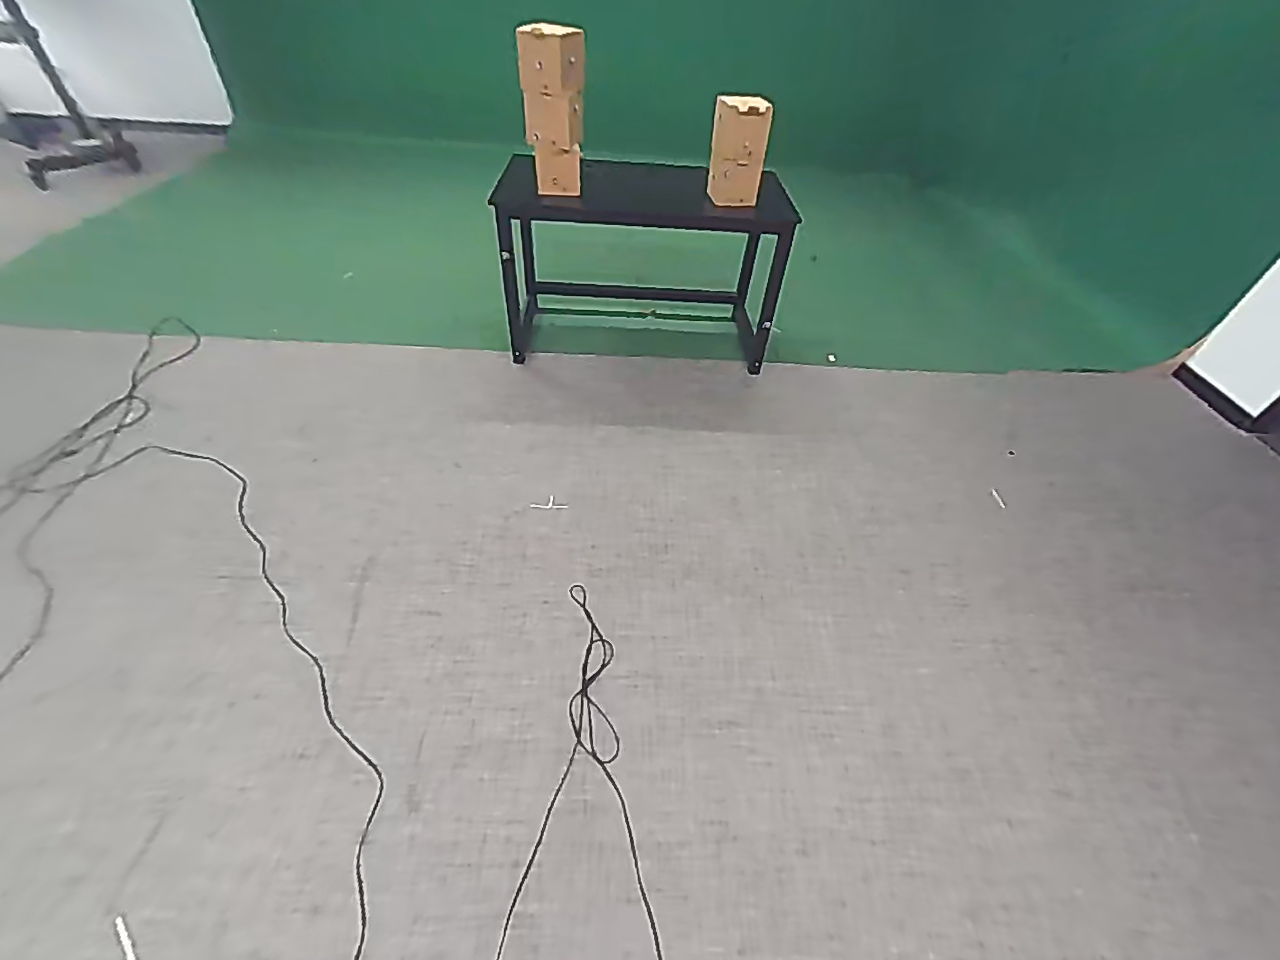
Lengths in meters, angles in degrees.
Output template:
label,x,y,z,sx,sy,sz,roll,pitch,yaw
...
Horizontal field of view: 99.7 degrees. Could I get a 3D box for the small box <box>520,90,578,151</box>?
label,x,y,z,sx,sy,sz,roll,pitch,yaw
small box,-0.330,-1.341,2.006,0.168,0.176,0.179,12,46,6

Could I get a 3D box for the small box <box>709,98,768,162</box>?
label,x,y,z,sx,sy,sz,roll,pitch,yaw
small box,0.365,-1.320,2.039,0.168,0.176,0.179,-4,46,-8

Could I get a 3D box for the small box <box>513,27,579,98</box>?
label,x,y,z,sx,sy,sz,roll,pitch,yaw
small box,-0.322,-1.461,1.894,0.168,0.176,0.179,20,49,13

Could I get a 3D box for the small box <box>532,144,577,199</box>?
label,x,y,z,sx,sy,sz,roll,pitch,yaw
small box,-0.337,-1.226,2.124,0.168,0.176,0.179,-4,47,-9
